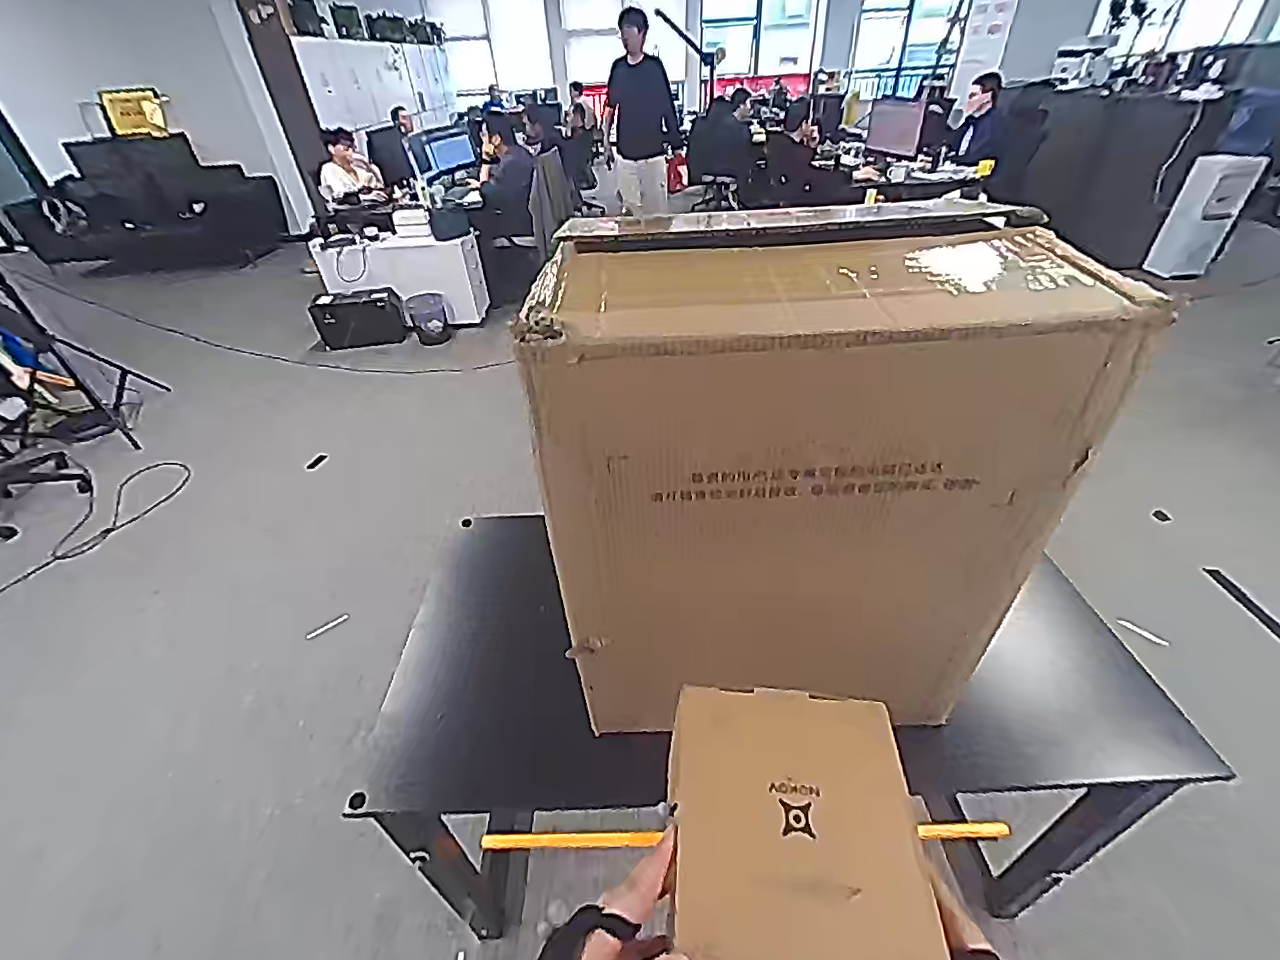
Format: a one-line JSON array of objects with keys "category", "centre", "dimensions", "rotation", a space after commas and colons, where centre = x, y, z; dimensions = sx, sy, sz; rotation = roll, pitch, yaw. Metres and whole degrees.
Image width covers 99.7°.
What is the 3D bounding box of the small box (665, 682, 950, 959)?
[{"category": "small box", "centre": [0.108, 0.290, 0.434], "dimensions": [0.168, 0.176, 0.179], "rotation": [4, 43, 3]}]
